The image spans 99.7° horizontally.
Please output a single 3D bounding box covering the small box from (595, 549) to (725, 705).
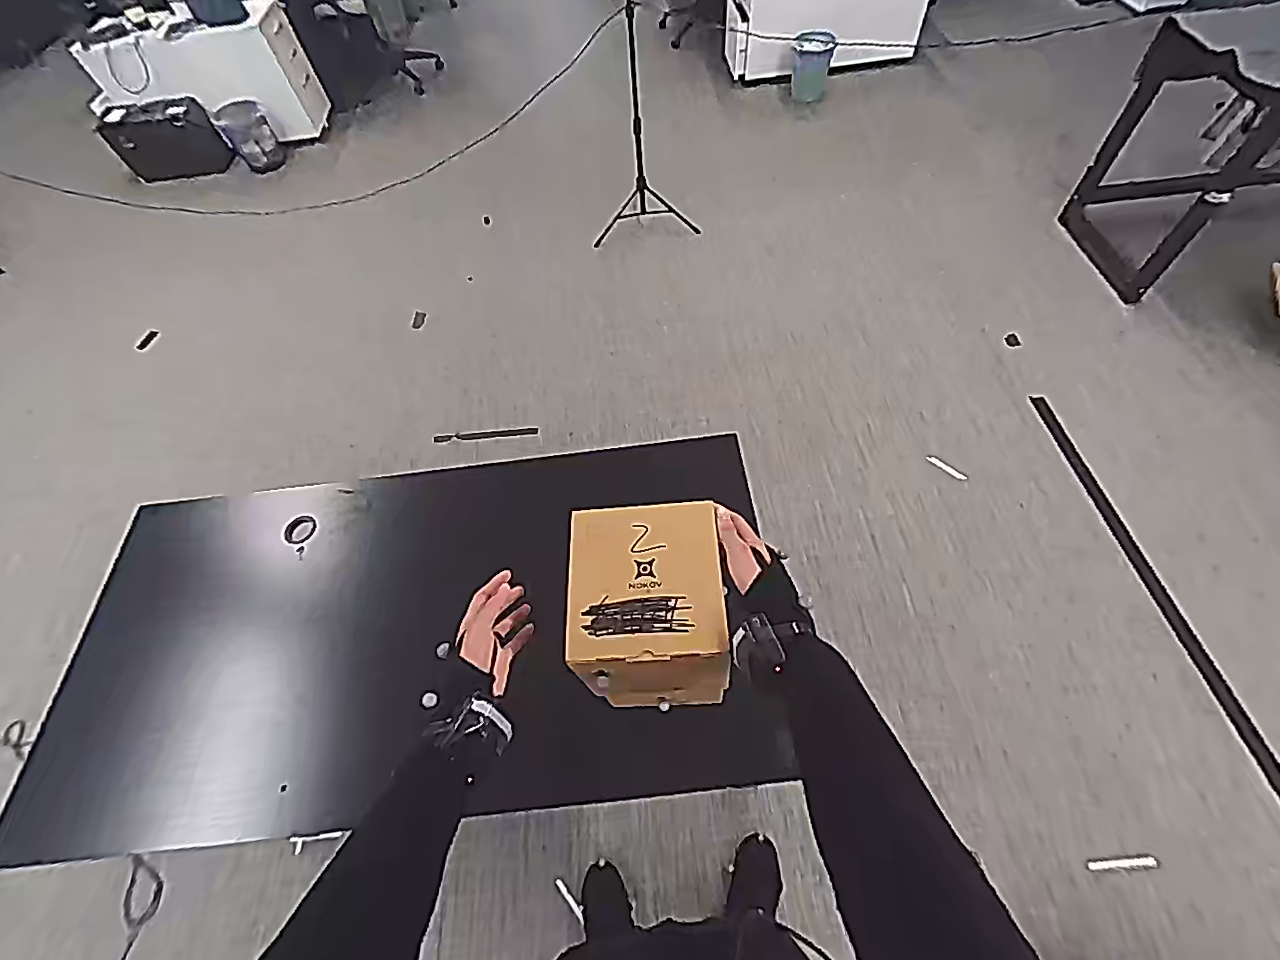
[{"bbox_3d":[0.032,0.216,0.783,0.168,0.176,0.179,-4,58,5],"label":"small box"}]
